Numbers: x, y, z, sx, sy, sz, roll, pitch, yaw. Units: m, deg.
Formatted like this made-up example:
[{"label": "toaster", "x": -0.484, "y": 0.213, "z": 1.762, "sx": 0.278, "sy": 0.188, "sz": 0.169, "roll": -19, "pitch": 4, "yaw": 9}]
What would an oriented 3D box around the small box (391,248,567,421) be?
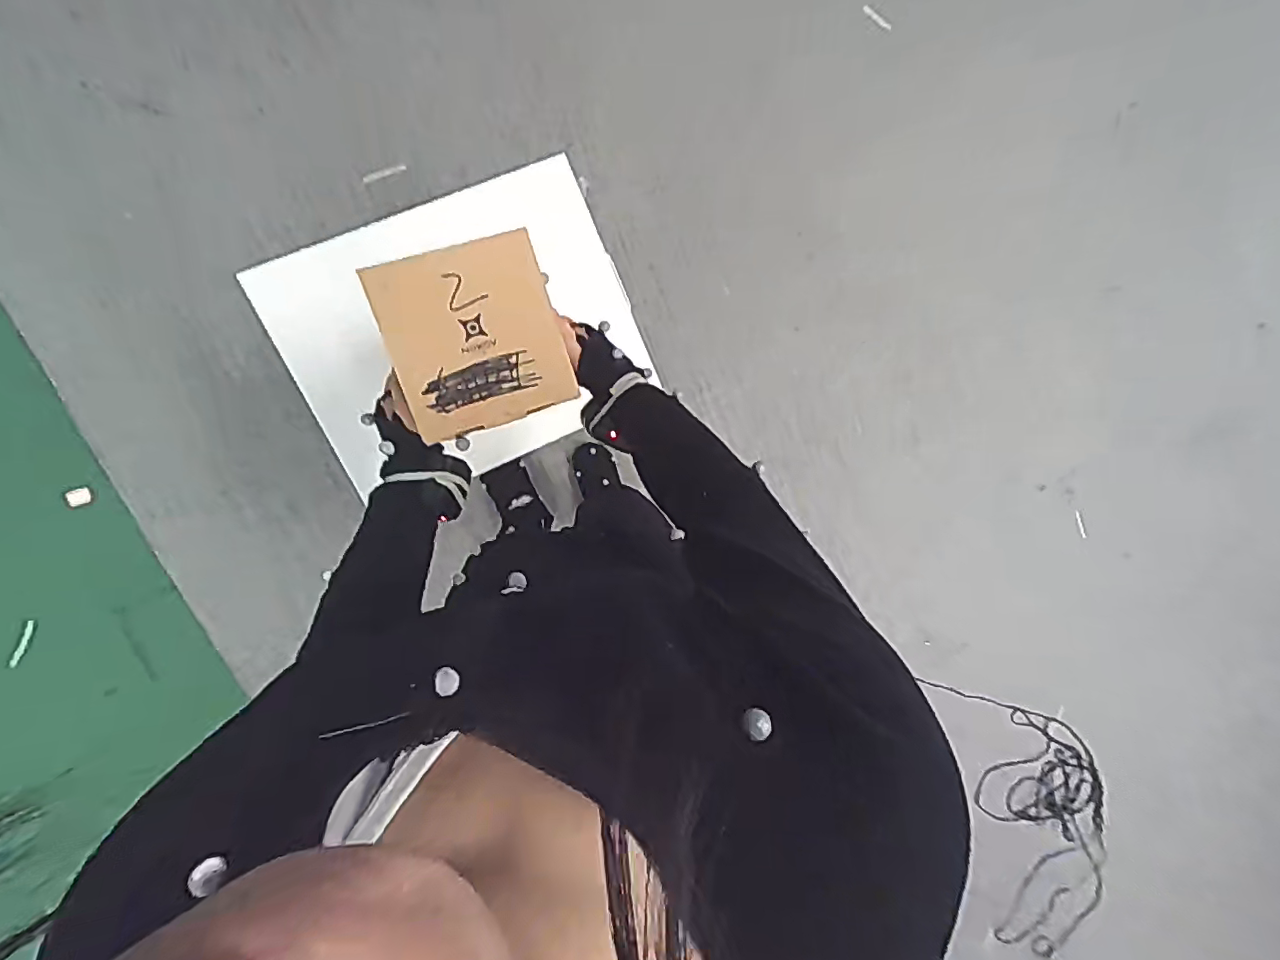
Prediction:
[{"label": "small box", "x": -0.217, "y": -0.191, "z": 0.758, "sx": 0.168, "sy": 0.176, "sz": 0.179, "roll": -25, "pitch": 102, "yaw": -9}]
